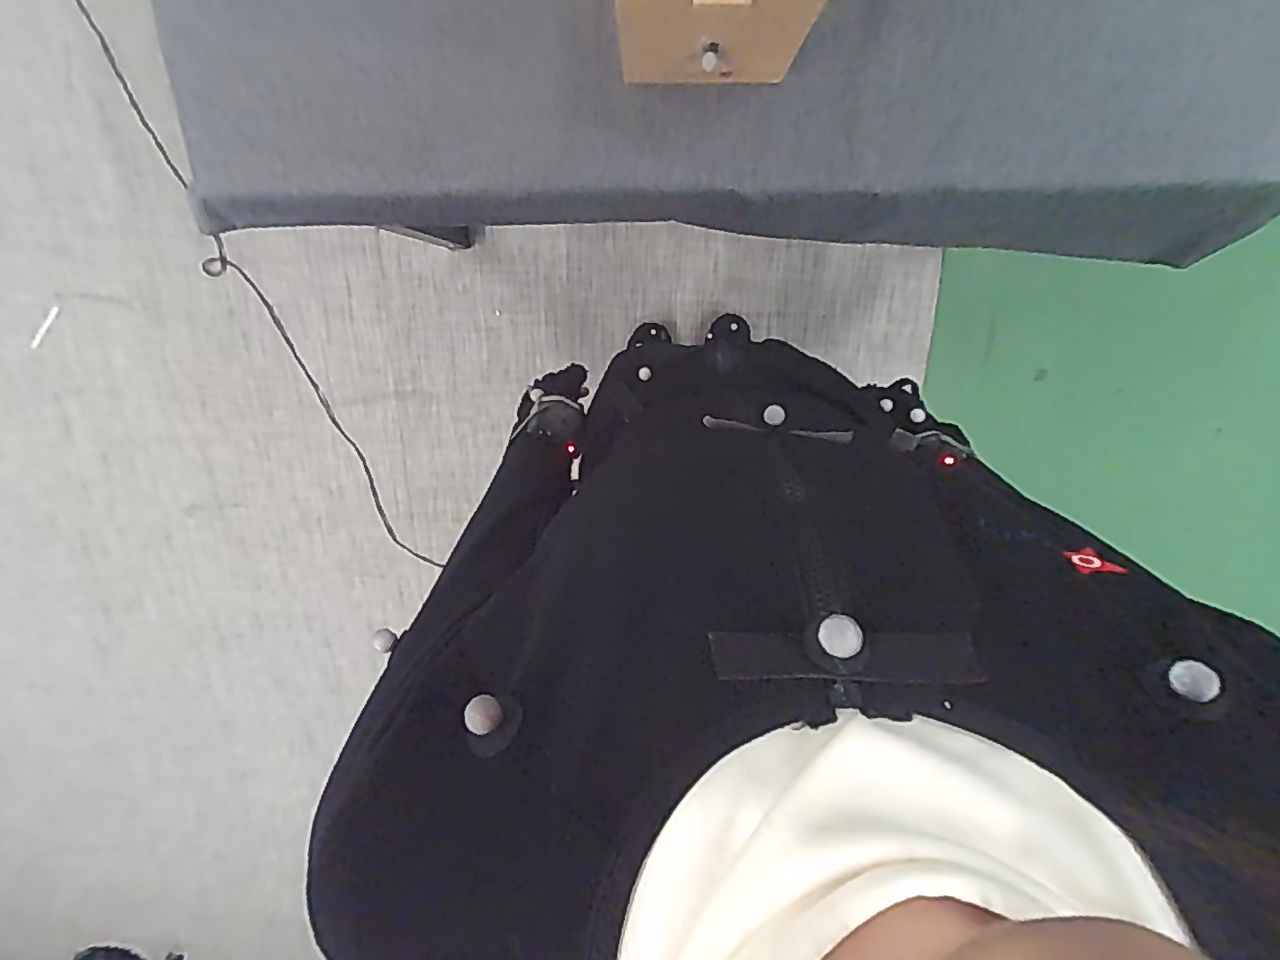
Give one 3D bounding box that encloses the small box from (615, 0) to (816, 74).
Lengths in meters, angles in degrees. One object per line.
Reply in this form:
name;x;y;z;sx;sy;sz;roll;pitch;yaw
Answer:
small box;0.065;-0.474;0.460;0.168;0.176;0.179;0;108;2
